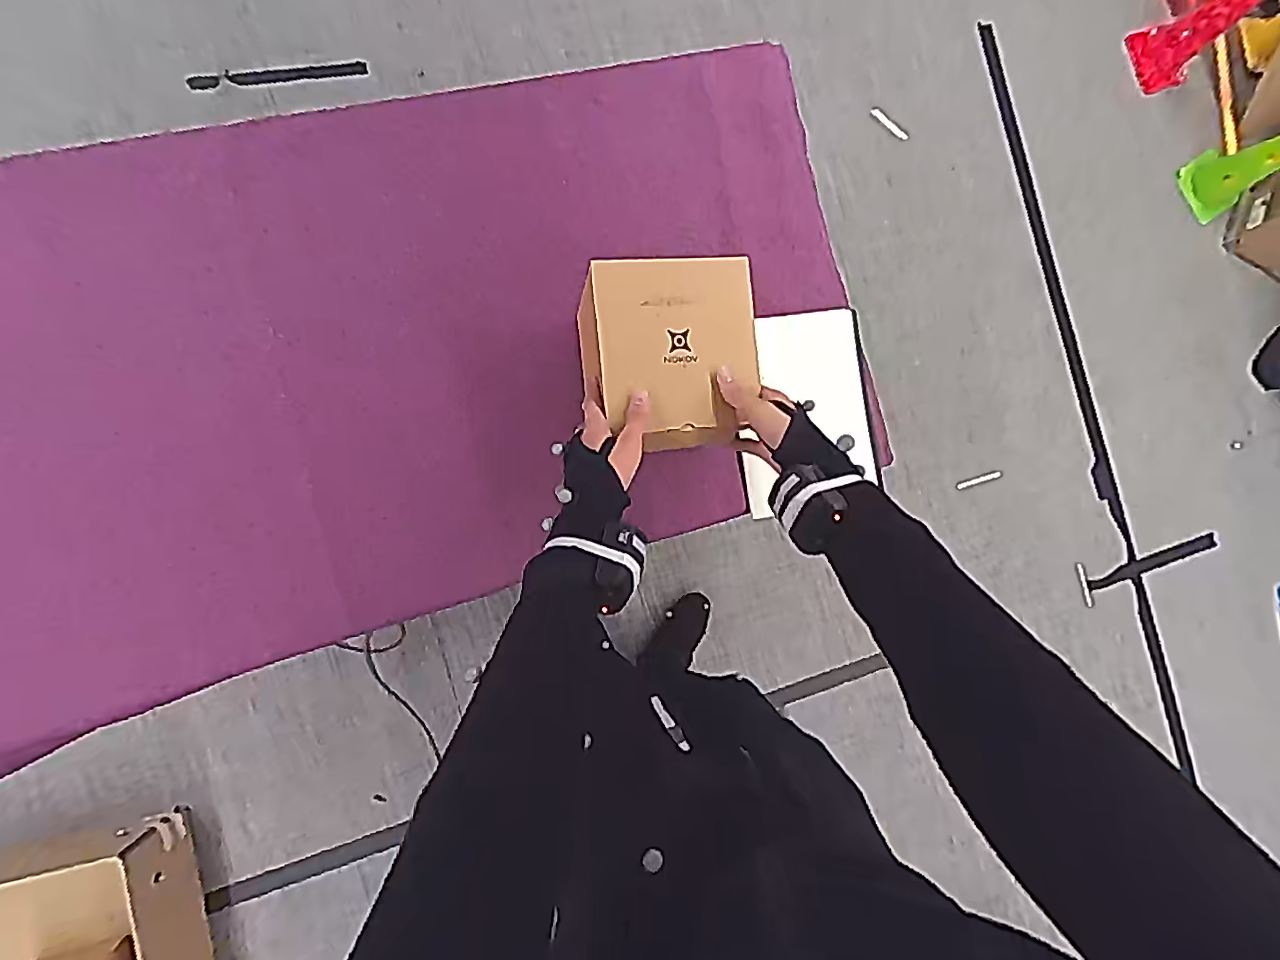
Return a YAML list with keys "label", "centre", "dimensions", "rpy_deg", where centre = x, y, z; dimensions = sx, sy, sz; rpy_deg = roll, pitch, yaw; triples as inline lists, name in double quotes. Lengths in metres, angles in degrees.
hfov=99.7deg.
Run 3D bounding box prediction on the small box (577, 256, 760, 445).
- label: "small box"
  centre: [0.021, -0.133, 0.611]
  dimensions: [0.168, 0.176, 0.179]
  rpy_deg: [-5, 89, -12]
